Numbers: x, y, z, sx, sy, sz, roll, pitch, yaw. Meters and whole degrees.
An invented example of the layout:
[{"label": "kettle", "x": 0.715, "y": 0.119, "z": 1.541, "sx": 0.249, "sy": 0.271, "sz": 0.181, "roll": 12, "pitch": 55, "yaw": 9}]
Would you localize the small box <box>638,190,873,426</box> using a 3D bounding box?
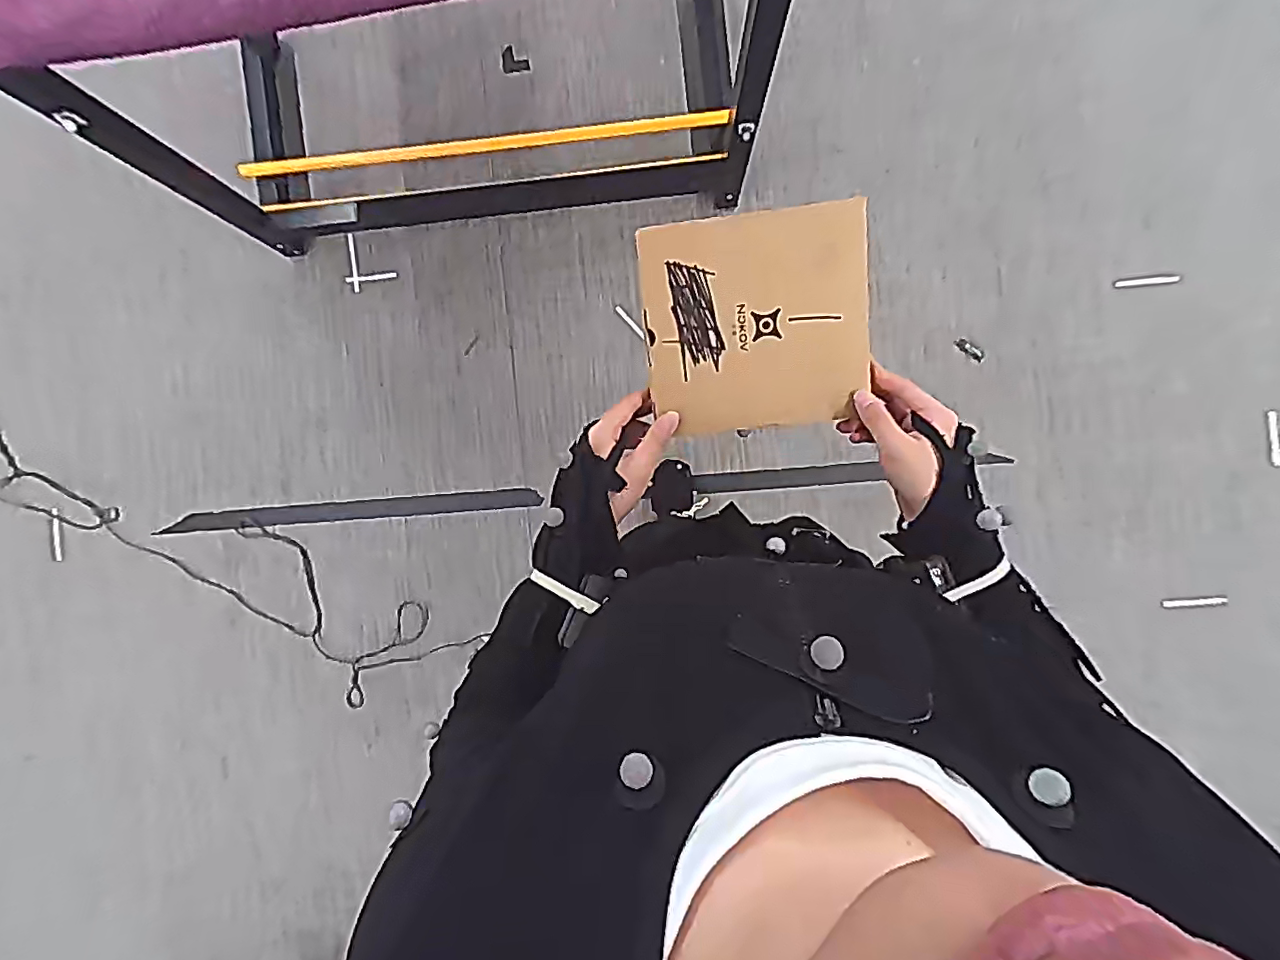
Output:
[{"label": "small box", "x": 0.102, "y": -0.145, "z": 0.500, "sx": 0.179, "sy": 0.176, "sz": 0.168, "roll": -4, "pitch": 103, "yaw": 8}]
